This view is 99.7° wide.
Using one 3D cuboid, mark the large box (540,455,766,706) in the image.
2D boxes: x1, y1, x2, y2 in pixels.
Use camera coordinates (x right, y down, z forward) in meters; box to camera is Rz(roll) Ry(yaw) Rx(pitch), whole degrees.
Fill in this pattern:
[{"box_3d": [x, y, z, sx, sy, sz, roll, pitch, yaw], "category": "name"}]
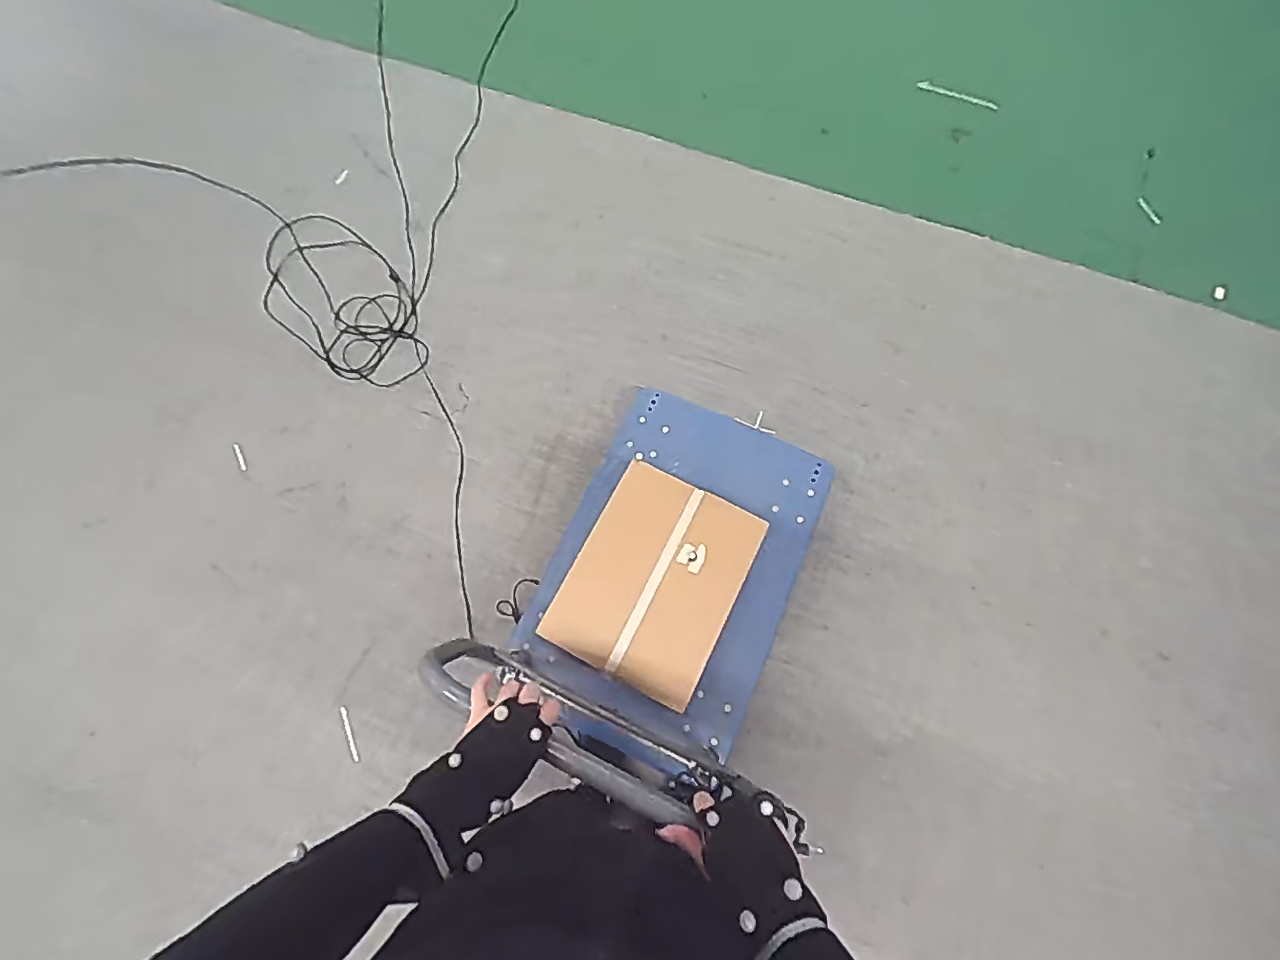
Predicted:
[{"box_3d": [0.031, 0.227, 1.185, 0.320, 0.320, 0.408, 27, 73, 7], "category": "large box"}]
